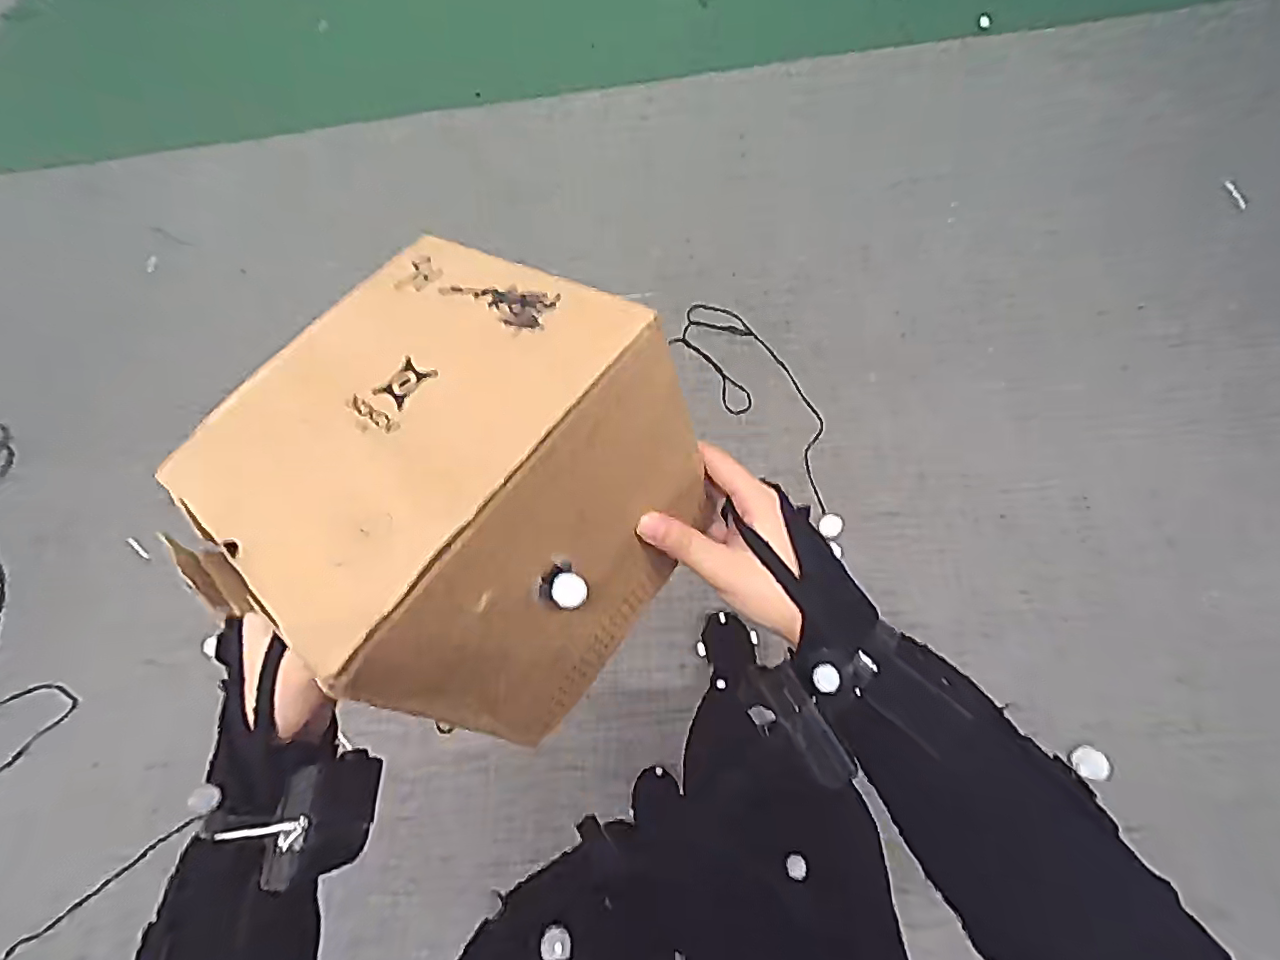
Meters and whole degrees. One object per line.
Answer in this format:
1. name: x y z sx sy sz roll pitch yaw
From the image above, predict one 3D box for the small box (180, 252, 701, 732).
1. small box: -0.084 0.012 0.302 0.168 0.176 0.179 28 71 30
